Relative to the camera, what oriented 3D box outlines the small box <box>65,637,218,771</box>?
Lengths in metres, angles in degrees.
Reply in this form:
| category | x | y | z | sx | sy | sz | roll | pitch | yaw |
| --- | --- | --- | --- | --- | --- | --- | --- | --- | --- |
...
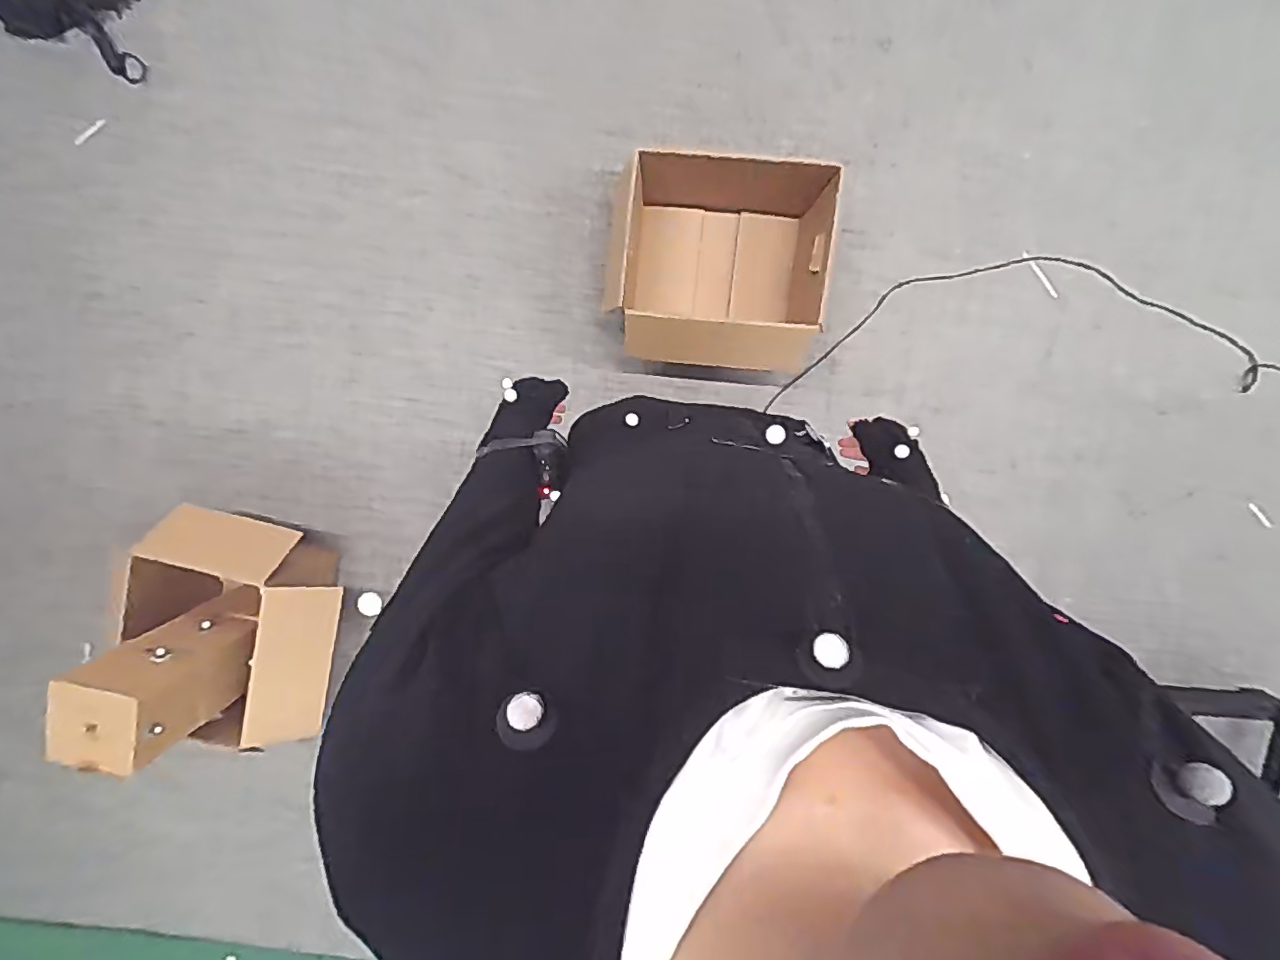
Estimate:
| category | x | y | z | sx | sy | sz | roll | pitch | yaw |
| --- | --- | --- | --- | --- | --- | --- | --- | --- | --- |
| small box | -1.014 | 0.454 | 1.113 | 0.168 | 0.176 | 0.179 | 12 | 101 | -2 |
